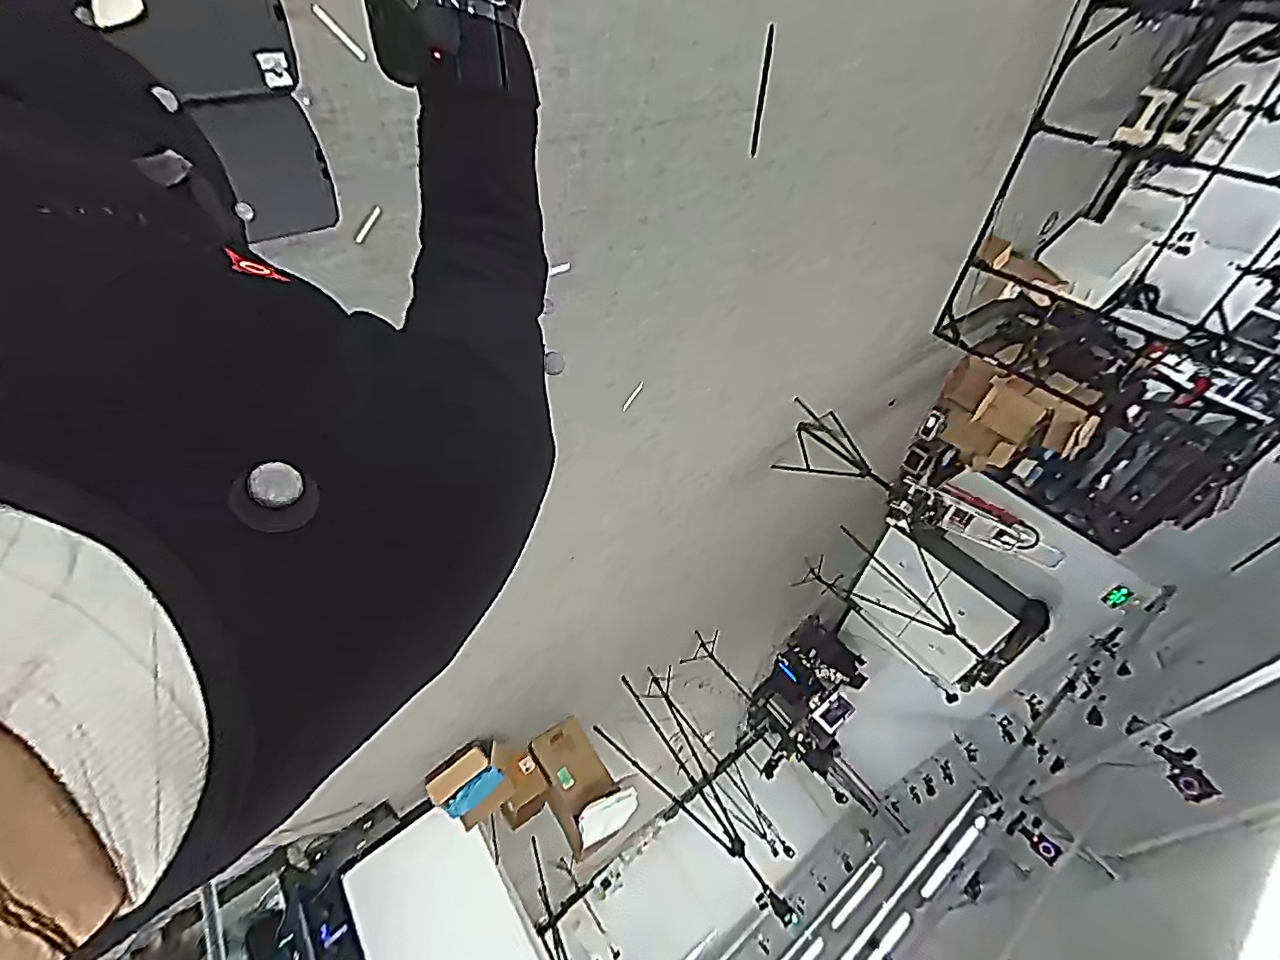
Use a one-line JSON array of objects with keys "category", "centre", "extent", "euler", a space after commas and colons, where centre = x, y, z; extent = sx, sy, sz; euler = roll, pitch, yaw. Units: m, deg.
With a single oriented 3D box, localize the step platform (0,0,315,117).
[{"category": "step platform", "centre": [-0.938, -0.802, 0.888], "extent": [0.684, 0.204, 0.286], "euler": [-29, 144, -26]}]
